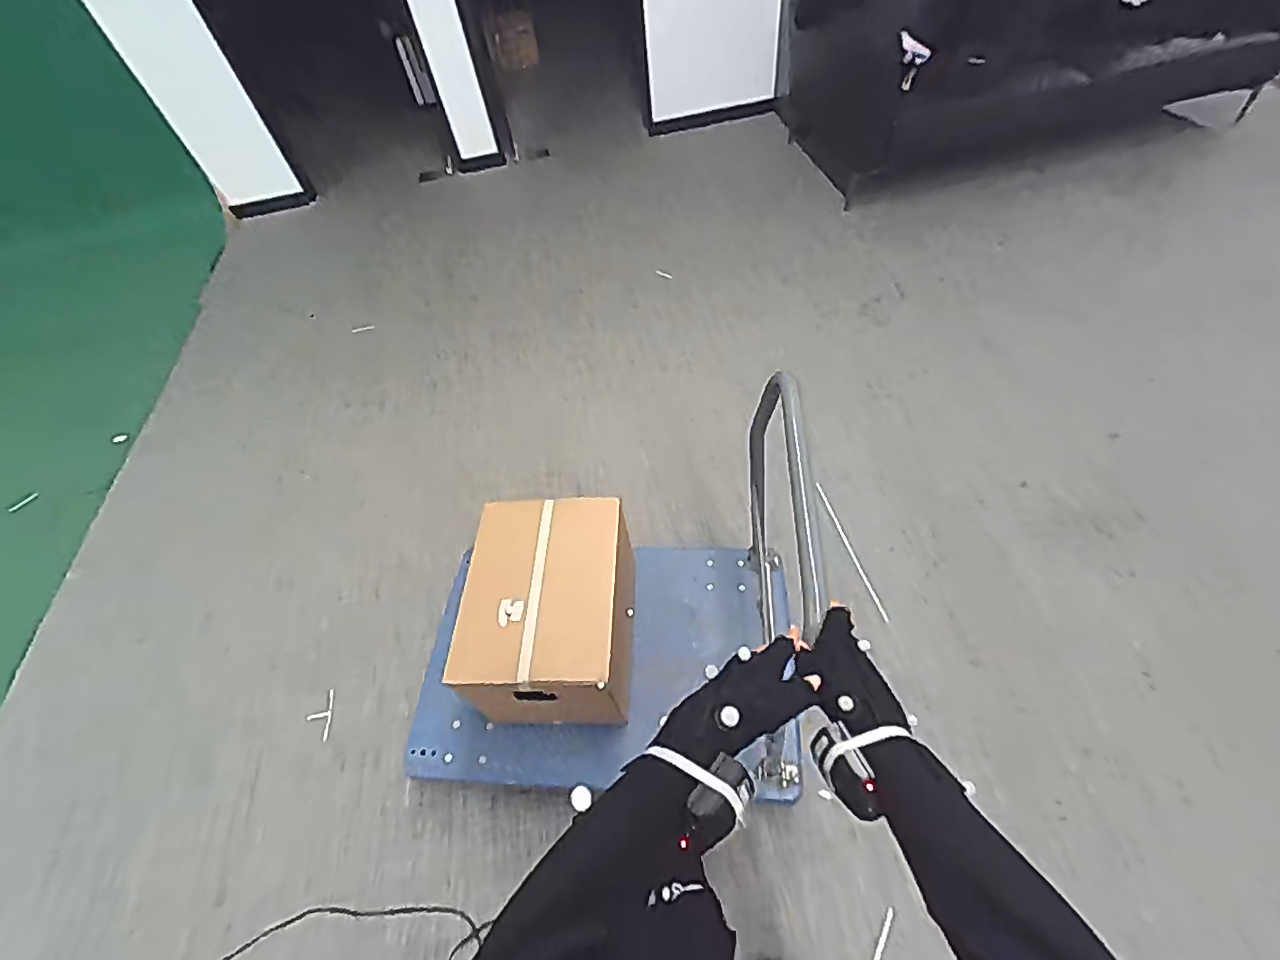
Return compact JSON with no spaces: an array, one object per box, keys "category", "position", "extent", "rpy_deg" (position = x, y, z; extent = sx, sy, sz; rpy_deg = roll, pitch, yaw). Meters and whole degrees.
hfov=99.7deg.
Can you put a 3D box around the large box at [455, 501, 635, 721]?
[{"category":"large box","position":[-0.177,0.297,1.221],"extent":[0.320,0.320,0.408],"rpy_deg":[-2,54,6]}]
